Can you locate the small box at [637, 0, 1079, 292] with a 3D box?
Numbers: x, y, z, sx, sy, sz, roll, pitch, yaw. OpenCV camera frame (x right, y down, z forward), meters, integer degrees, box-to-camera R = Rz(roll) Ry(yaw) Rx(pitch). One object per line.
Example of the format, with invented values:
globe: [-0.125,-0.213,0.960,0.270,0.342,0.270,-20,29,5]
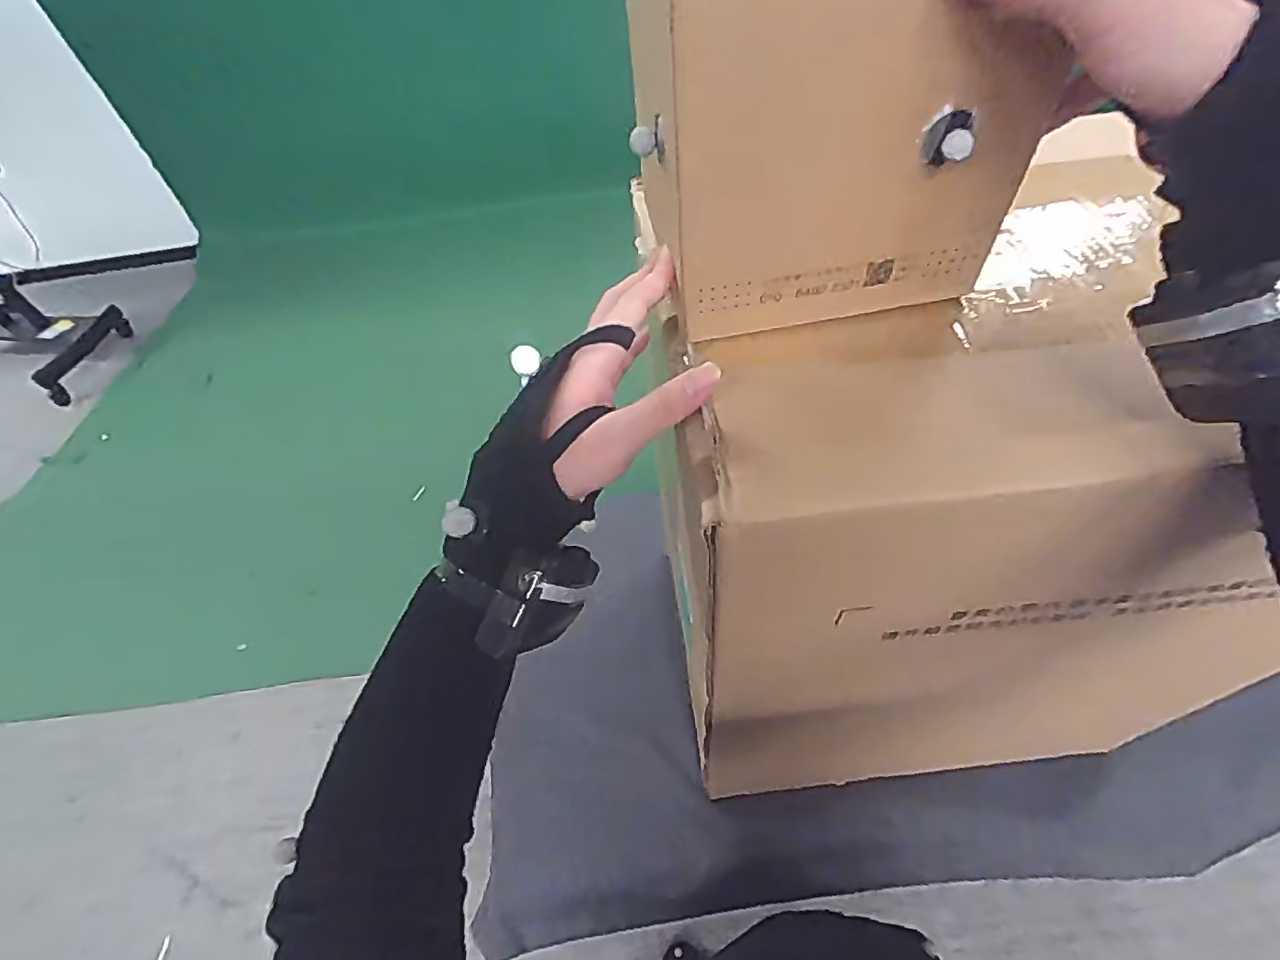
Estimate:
small box: [0.092,-0.216,0.287,0.168,0.176,0.179,-8,50,-2]
